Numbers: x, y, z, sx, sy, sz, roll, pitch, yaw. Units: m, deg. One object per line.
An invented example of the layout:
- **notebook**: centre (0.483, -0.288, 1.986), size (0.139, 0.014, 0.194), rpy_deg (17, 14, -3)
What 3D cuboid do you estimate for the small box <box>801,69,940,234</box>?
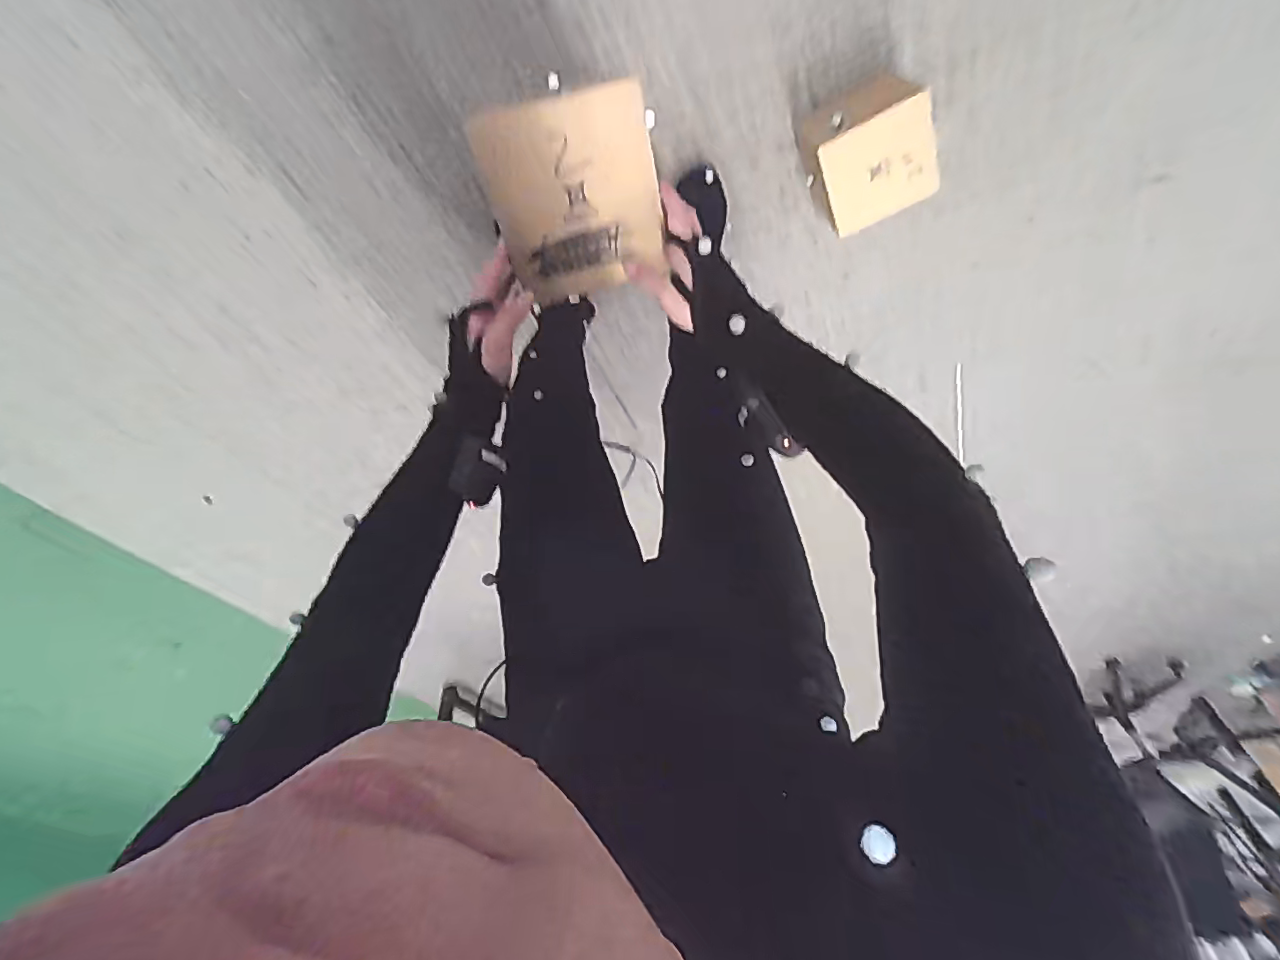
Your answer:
- **small box**: centre (0.395, -0.575, 0.949), size (0.179, 0.176, 0.168), rpy_deg (-22, 133, 18)
